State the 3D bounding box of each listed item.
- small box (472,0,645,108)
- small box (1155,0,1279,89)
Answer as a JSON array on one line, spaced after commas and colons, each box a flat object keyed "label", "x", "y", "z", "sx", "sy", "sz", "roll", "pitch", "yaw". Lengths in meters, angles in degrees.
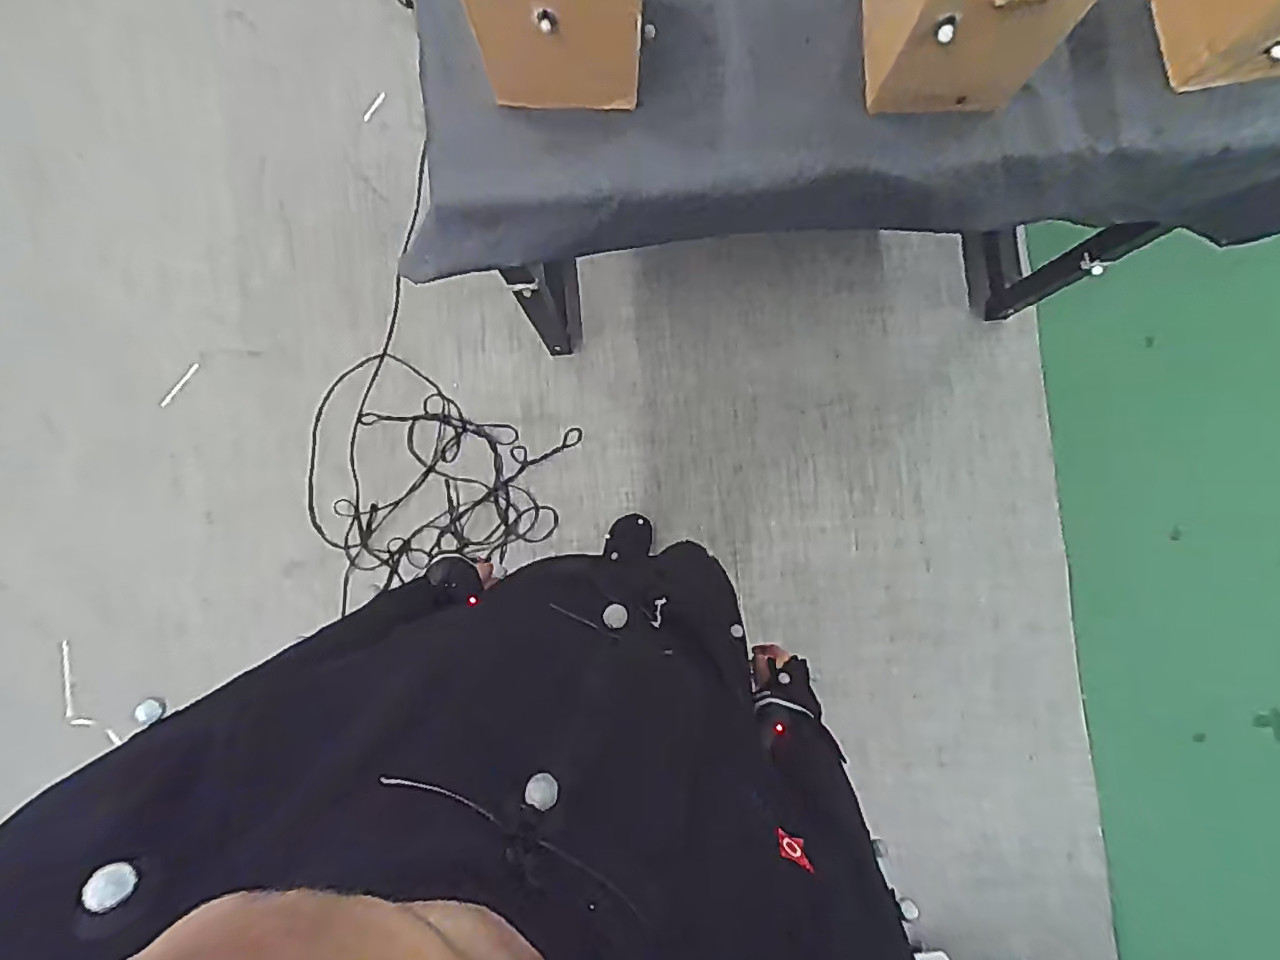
[{"label": "small box", "x": -0.084, "y": -0.543, "z": 0.589, "sx": 0.179, "sy": 0.176, "sz": 0.168, "roll": 2, "pitch": 88, "yaw": -1}, {"label": "small box", "x": 0.718, "y": -0.579, "z": 0.589, "sx": 0.168, "sy": 0.176, "sz": 0.179, "roll": -10, "pitch": 87, "yaw": 0}]
